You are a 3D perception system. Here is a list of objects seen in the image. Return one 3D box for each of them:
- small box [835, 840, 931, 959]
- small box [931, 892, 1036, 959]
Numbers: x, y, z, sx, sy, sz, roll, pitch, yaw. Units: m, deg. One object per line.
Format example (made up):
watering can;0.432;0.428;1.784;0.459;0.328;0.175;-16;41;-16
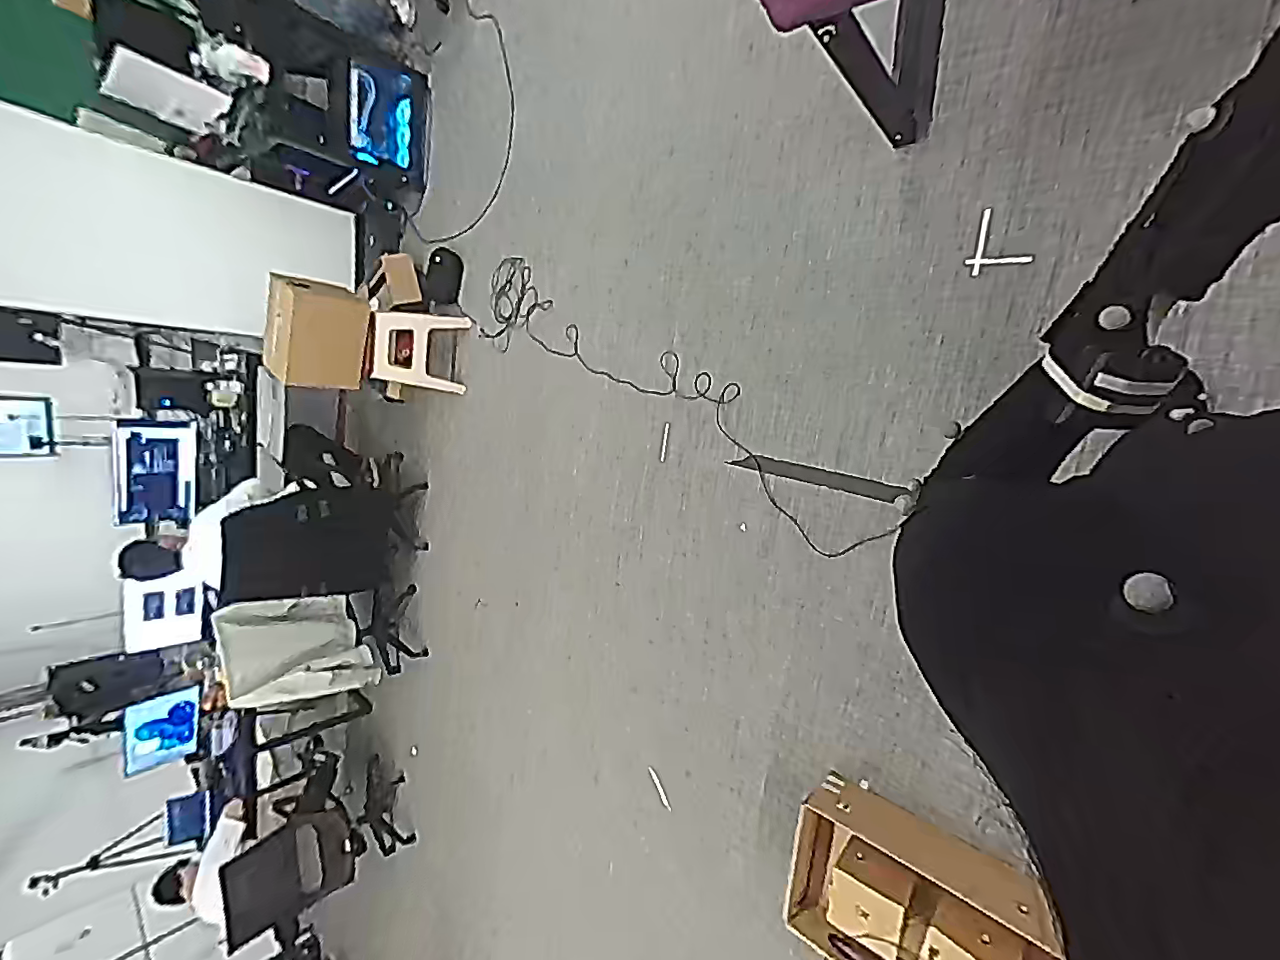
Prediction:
small box;0.635;1.089;1.413;0.179;0.176;0.168;12;101;39
small box;0.800;1.131;1.267;0.179;0.176;0.168;19;105;40
